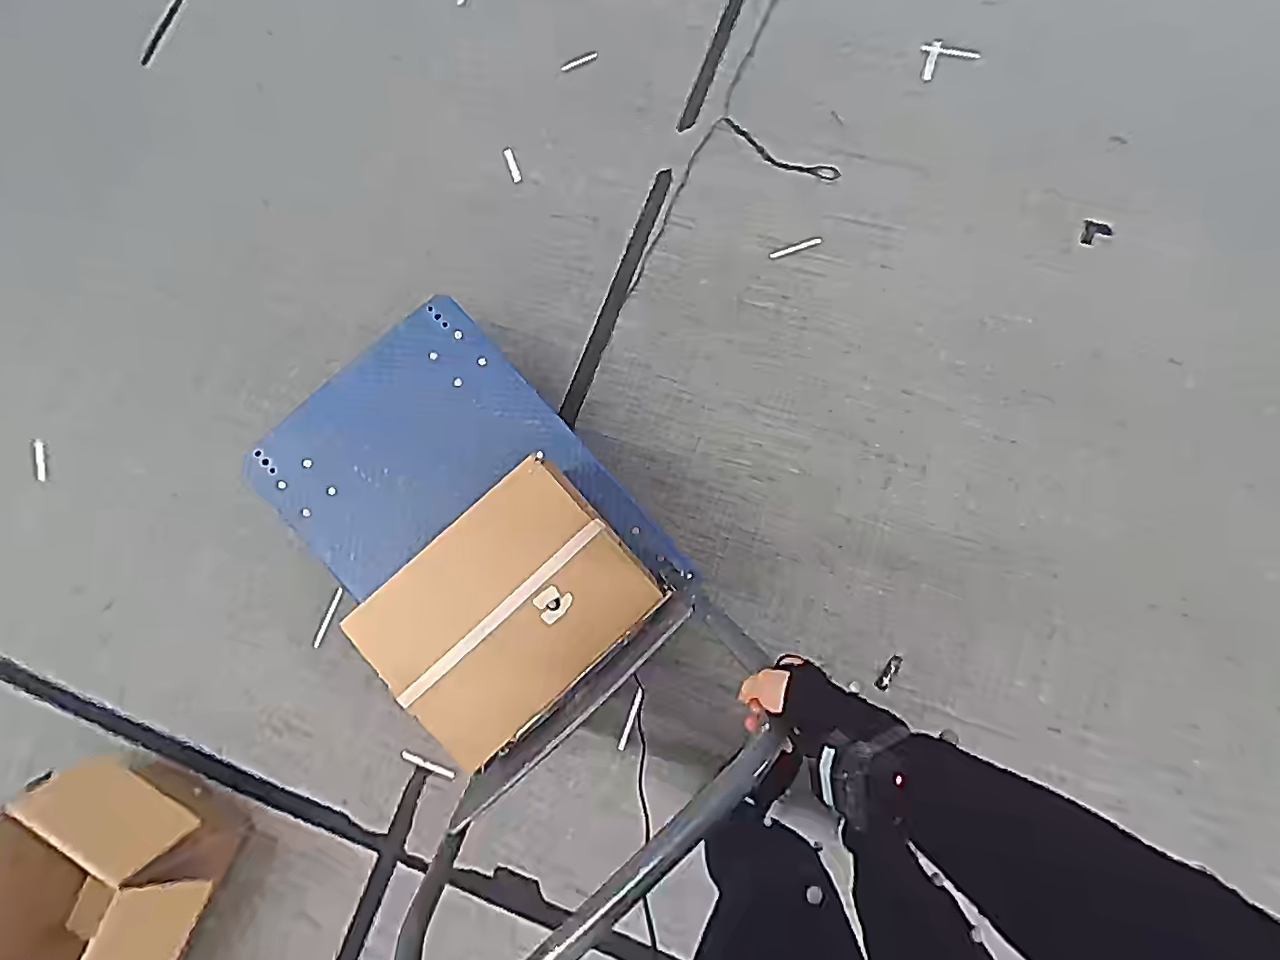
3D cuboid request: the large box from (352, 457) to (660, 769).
[{"bbox_3d":[-0.216,0.220,1.005,0.408,0.320,0.320,-43,89,-5],"label":"large box"}]
